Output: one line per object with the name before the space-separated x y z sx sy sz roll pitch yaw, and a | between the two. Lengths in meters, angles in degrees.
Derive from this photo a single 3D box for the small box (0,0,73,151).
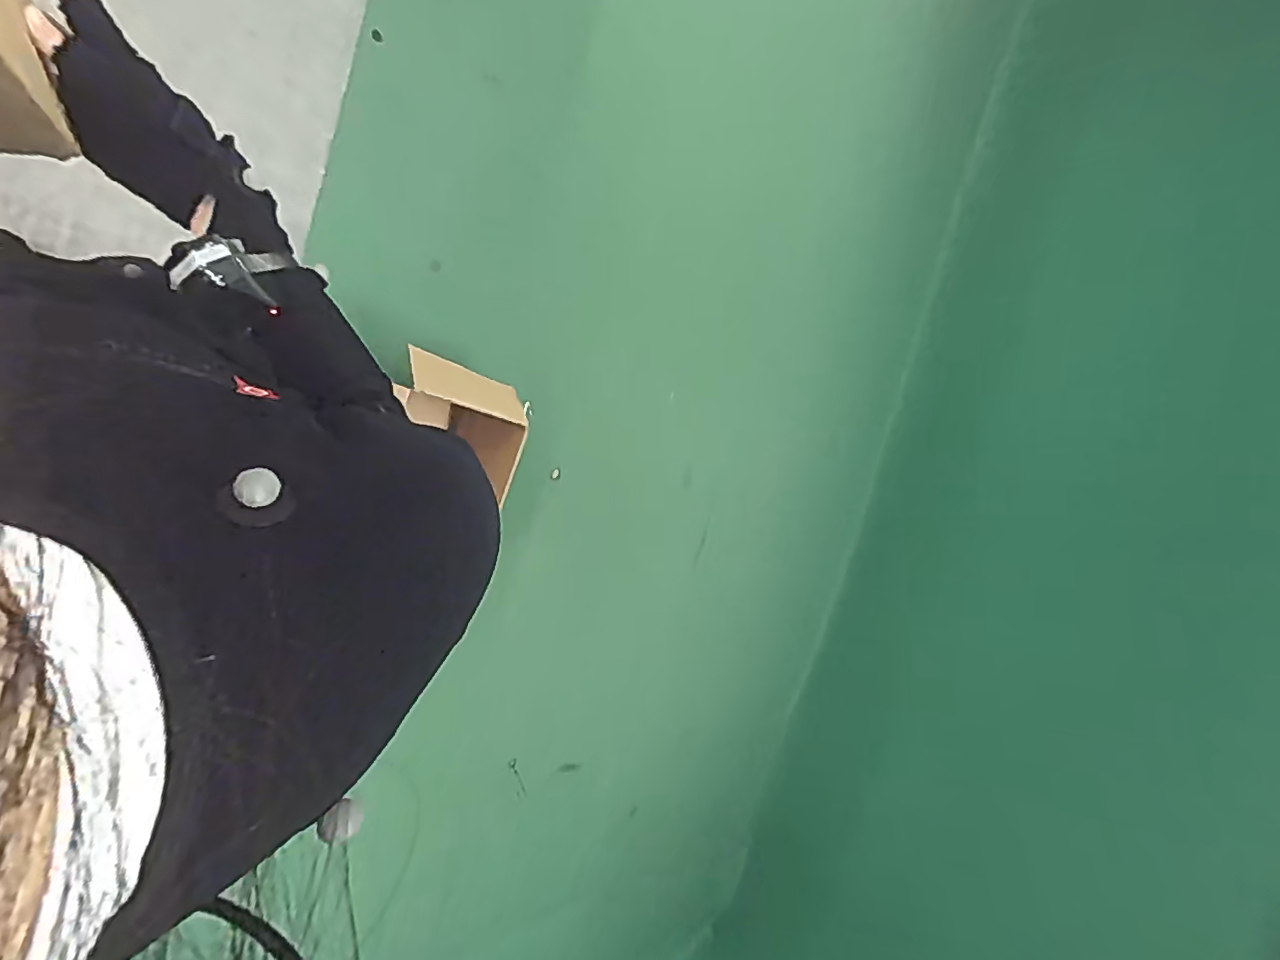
small box | -0.415 -0.276 0.247 0.168 0.176 0.179 -17 108 -34
